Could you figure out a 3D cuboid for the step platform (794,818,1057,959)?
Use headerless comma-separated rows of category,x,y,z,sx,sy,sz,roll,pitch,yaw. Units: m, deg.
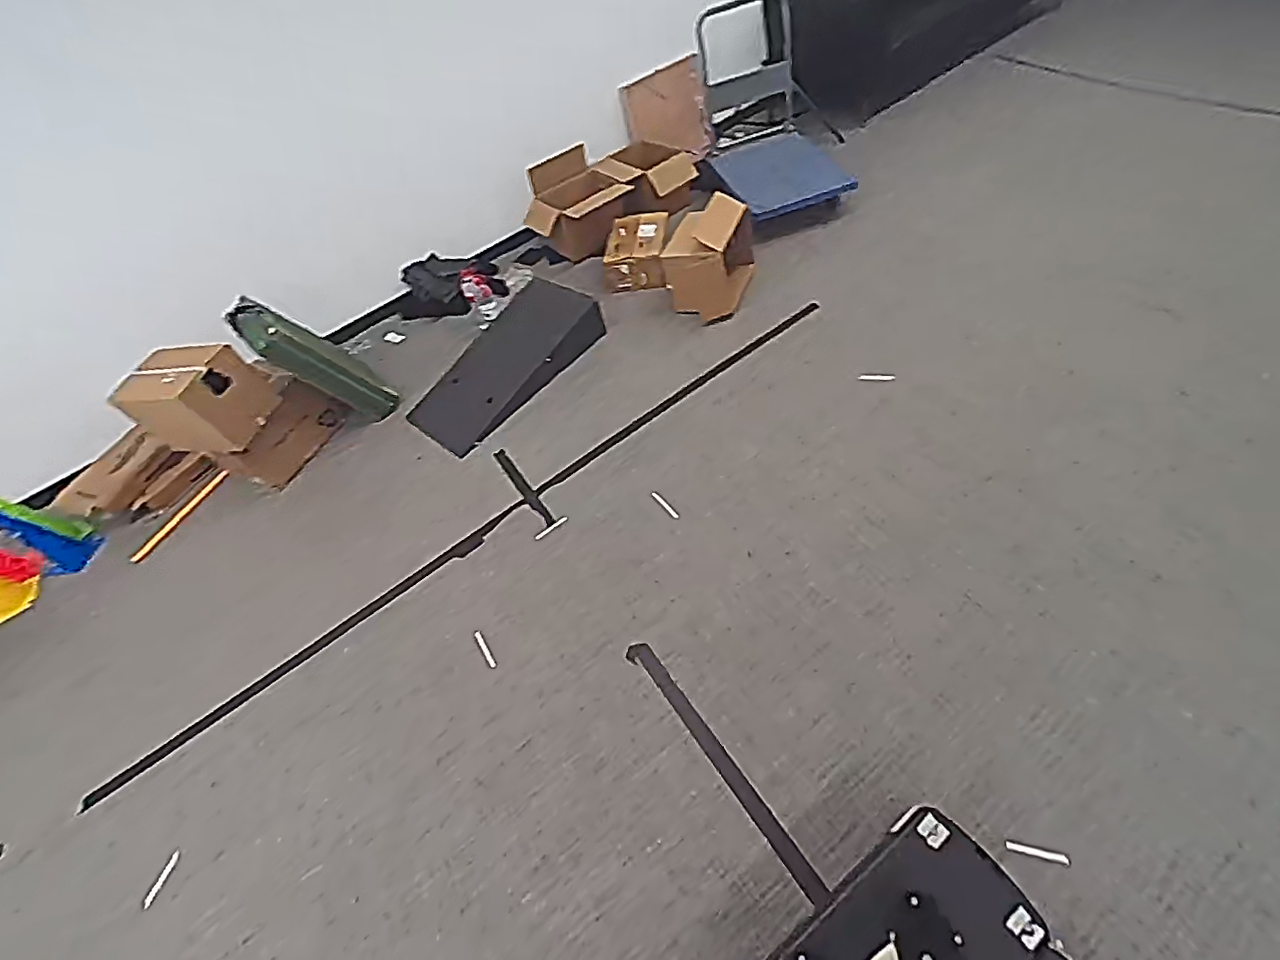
step platform,0.474,1.019,1.065,0.684,0.204,0.286,-36,53,-14
